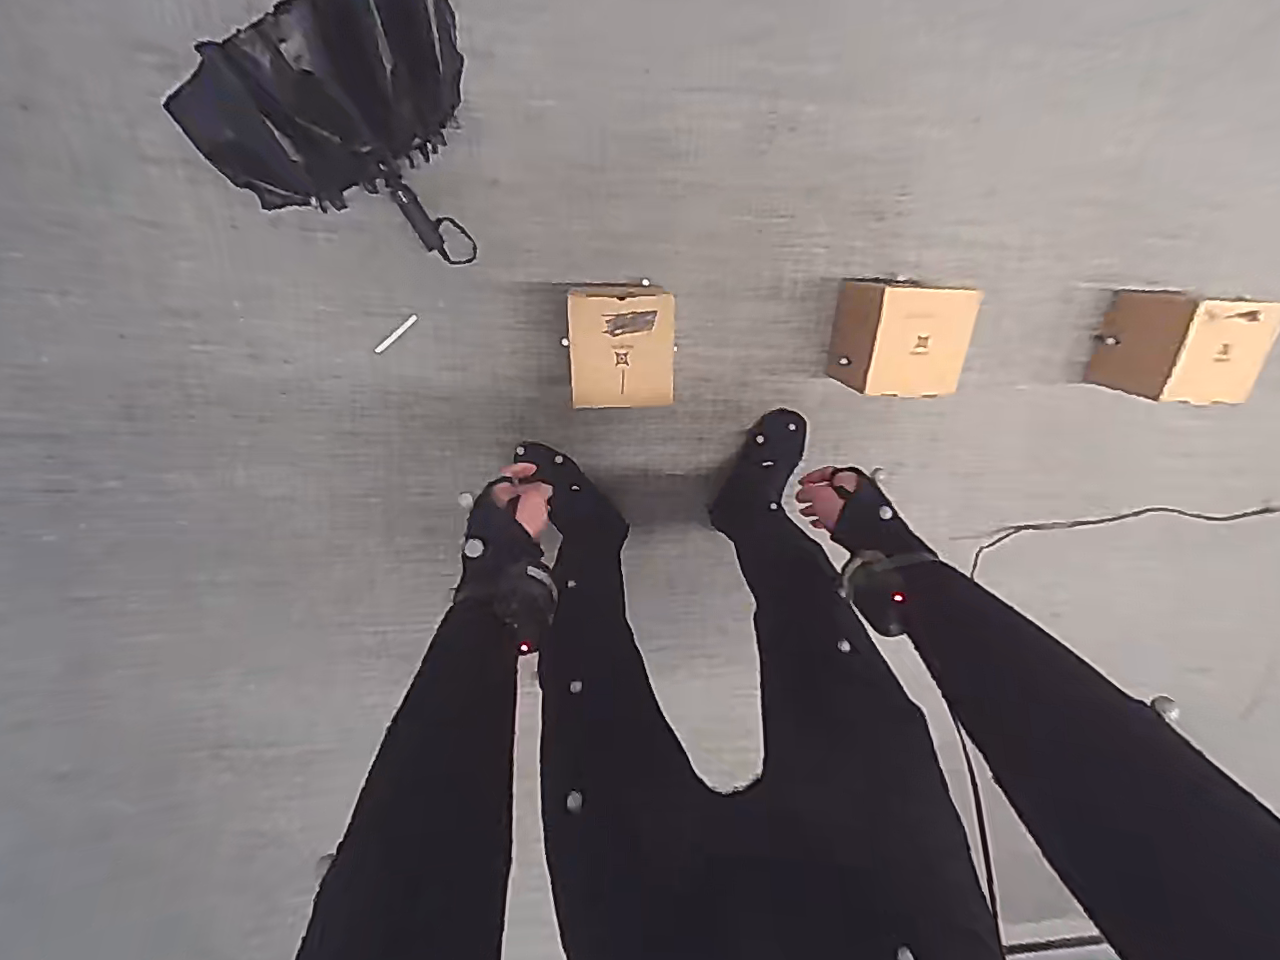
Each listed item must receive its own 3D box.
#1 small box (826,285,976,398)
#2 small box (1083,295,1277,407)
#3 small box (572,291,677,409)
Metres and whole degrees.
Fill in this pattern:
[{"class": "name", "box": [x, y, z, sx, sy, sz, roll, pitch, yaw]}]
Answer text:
[{"class": "small box", "box": [0.453, -0.252, 0.971, 0.168, 0.176, 0.179, -1, 112, -6]}, {"class": "small box", "box": [0.997, -0.247, 1.022, 0.168, 0.176, 0.179, 1, 113, -5]}, {"class": "small box", "box": [-0.031, -0.230, 0.930, 0.168, 0.176, 0.179, -2, 114, -4]}]
